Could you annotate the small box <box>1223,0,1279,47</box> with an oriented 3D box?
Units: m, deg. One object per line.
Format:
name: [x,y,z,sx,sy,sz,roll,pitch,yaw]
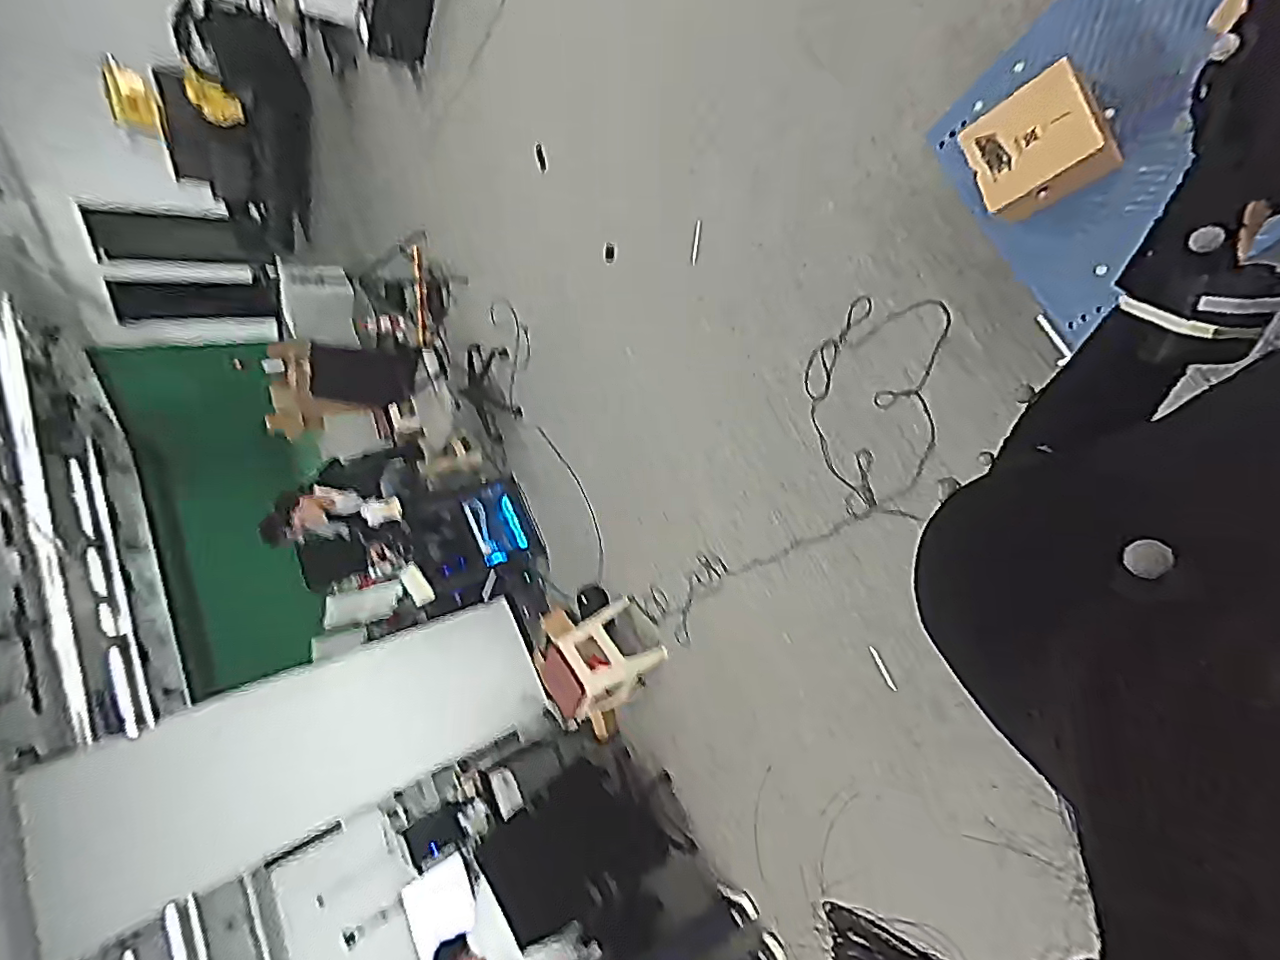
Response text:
small box: [0.500,-0.337,0.297,0.179,0.176,0.168,24,141,14]

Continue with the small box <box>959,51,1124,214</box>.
small box: [0.728,-0.612,0.982,0.179,0.176,0.168,-26,82,50]
